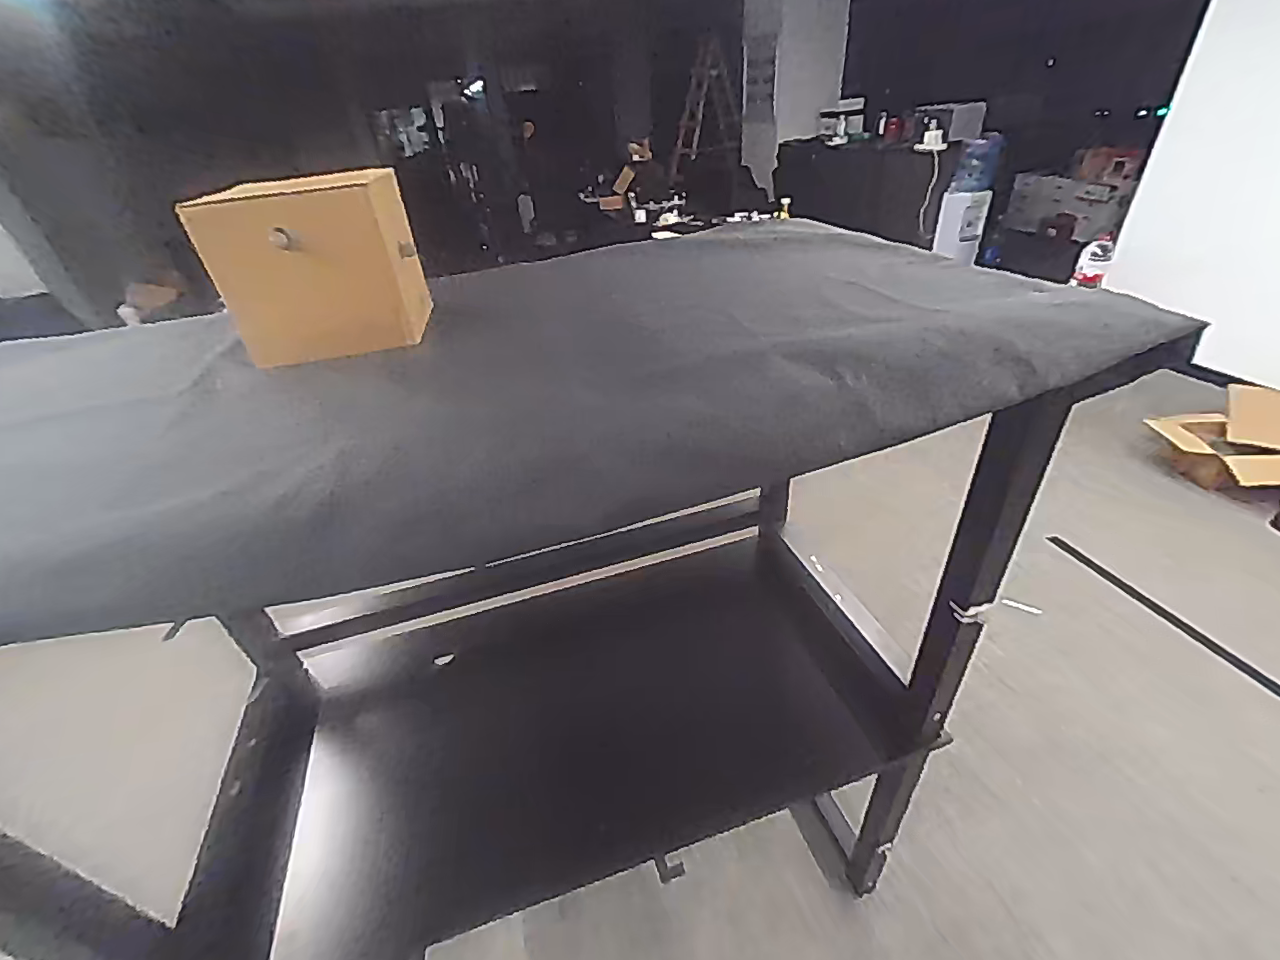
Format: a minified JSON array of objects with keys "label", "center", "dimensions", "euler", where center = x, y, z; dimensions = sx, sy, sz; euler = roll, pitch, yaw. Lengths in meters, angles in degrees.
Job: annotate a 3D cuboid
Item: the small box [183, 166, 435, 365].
[{"label":"small box","center":[-0.351,-0.249,0.622],"dimensions":[0.179,0.176,0.168],"euler":[-11,36,-7]}]
